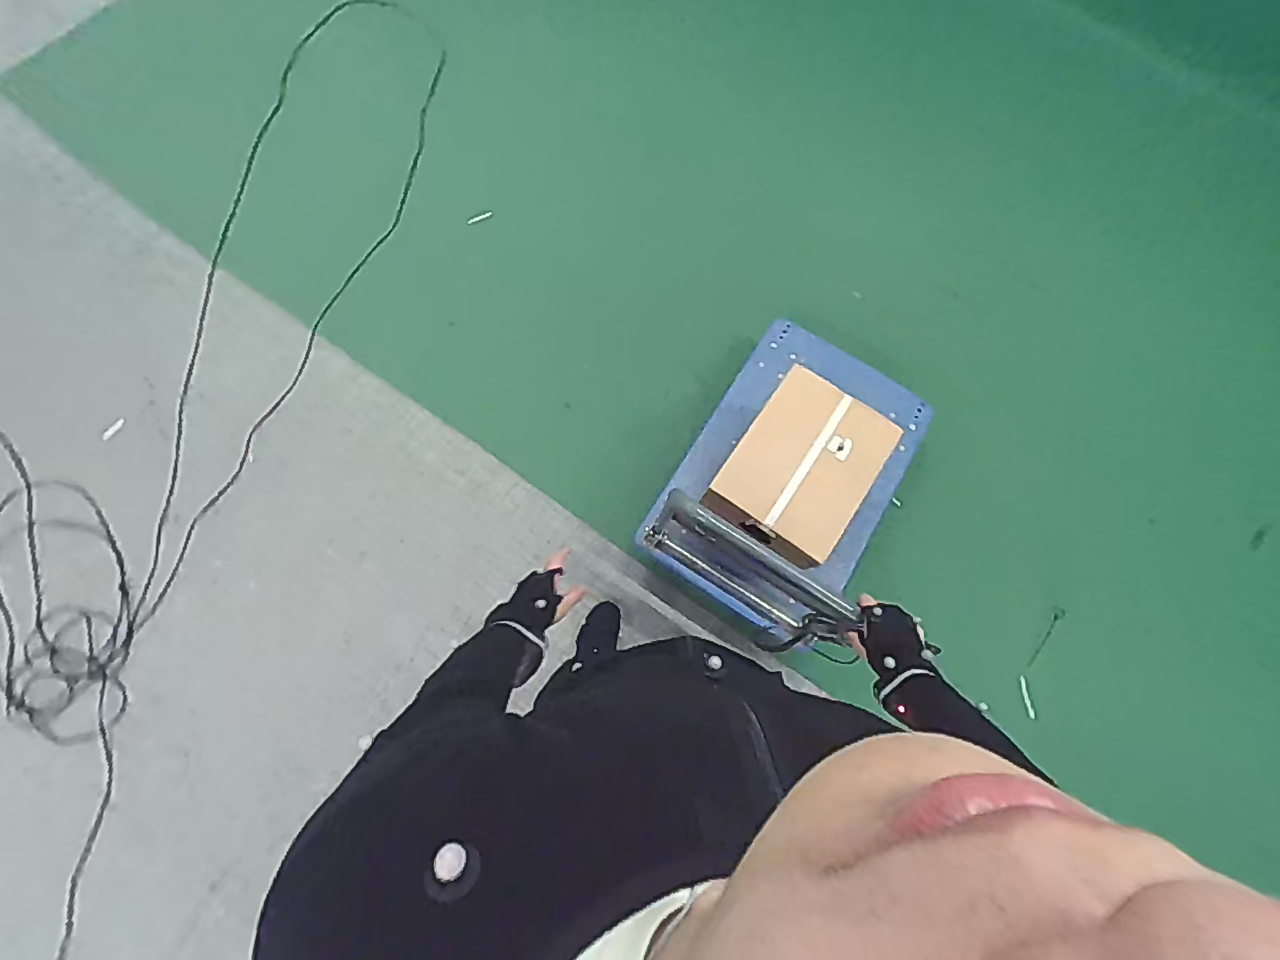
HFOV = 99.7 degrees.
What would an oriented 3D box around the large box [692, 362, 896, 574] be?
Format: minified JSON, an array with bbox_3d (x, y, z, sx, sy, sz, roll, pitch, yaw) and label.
[{"bbox_3d":[0.382,-0.014,1.422,0.320,0.320,0.408,35,75,6],"label":"large box"}]
